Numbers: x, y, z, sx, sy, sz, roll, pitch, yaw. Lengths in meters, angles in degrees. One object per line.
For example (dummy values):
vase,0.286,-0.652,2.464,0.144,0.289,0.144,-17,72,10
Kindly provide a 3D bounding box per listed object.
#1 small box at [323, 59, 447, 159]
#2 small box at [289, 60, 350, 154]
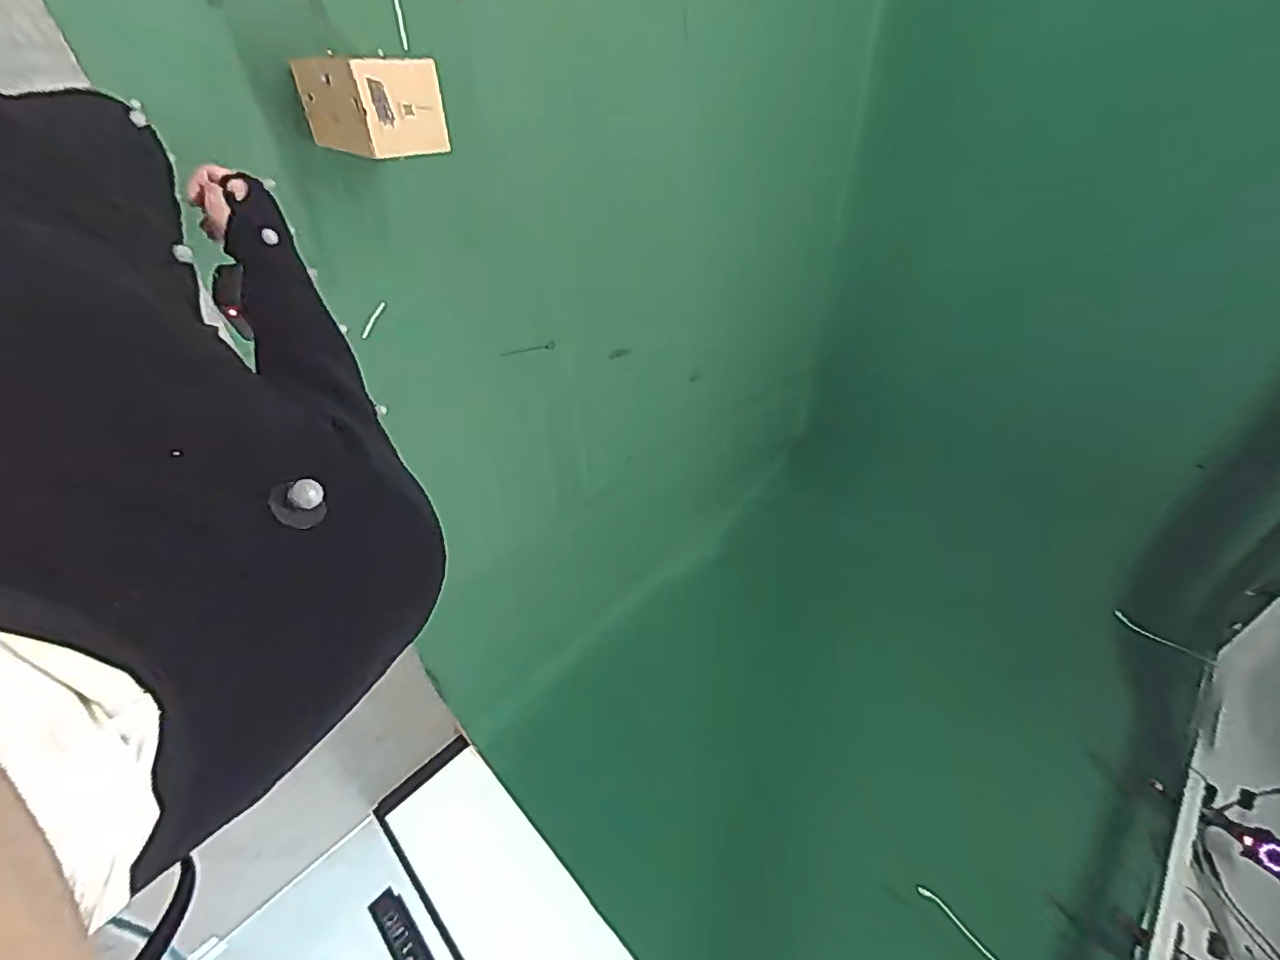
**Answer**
small box,-0.546,-0.793,1.155,0.179,0.176,0.168,-32,139,-34
small box,-0.663,-0.864,1.246,0.179,0.176,0.168,-32,138,-33
